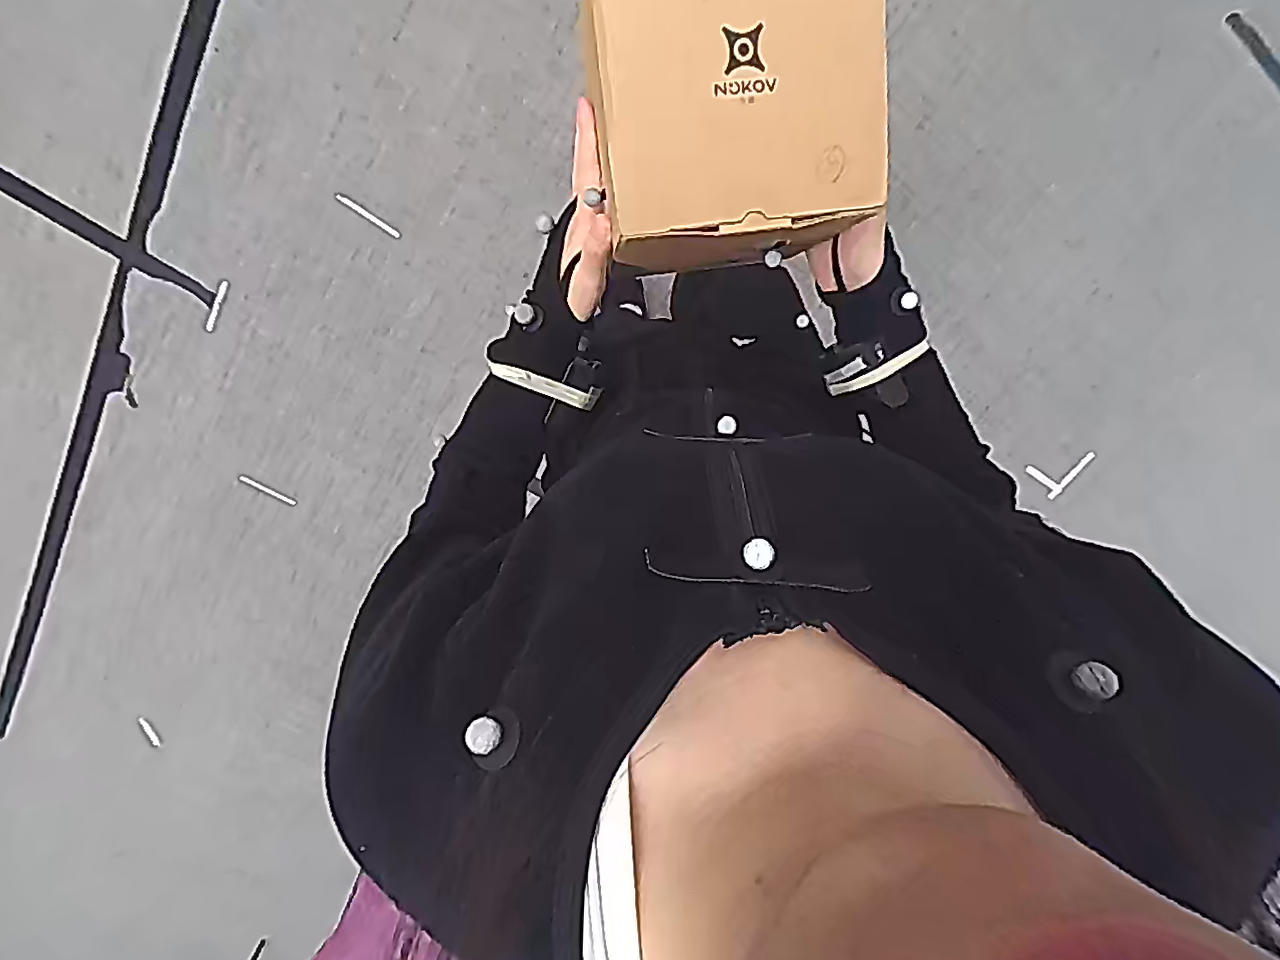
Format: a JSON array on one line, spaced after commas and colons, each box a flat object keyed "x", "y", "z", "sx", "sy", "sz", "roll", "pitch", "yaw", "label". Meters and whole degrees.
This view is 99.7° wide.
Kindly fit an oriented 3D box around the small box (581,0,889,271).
[{"x": 0.051, "y": -0.252, "z": 0.378, "sx": 0.168, "sy": 0.176, "sz": 0.179, "roll": -8, "pitch": 102, "yaw": -4, "label": "small box"}]
